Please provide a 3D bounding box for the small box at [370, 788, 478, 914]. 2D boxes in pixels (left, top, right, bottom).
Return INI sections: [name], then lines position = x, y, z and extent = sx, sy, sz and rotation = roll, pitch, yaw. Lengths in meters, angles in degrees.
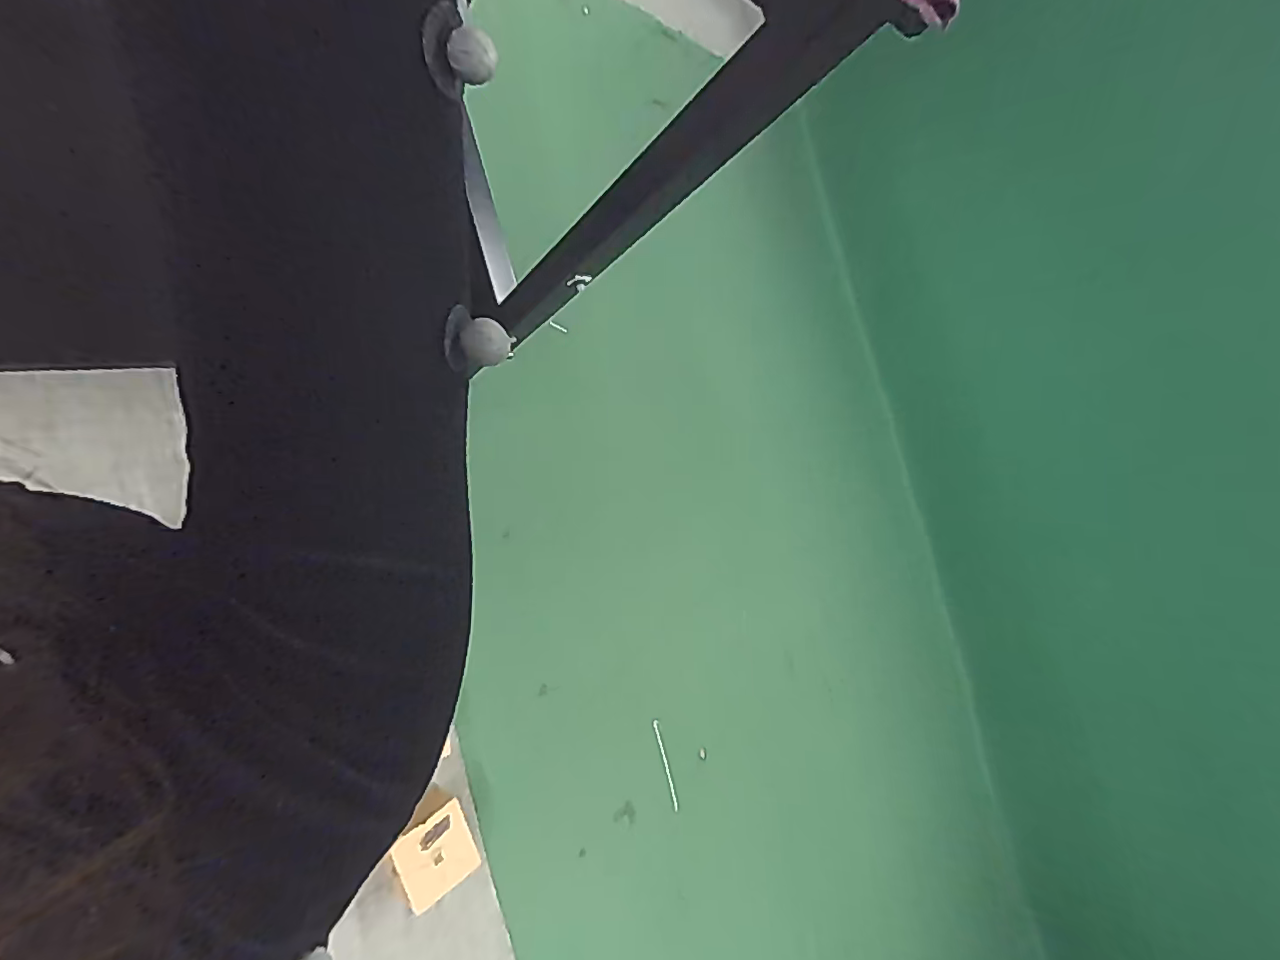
[small box]
position = -0.522, 0.873, 1.299
extent = 0.168, 0.176, 0.179
rotation = -22, 94, -41
